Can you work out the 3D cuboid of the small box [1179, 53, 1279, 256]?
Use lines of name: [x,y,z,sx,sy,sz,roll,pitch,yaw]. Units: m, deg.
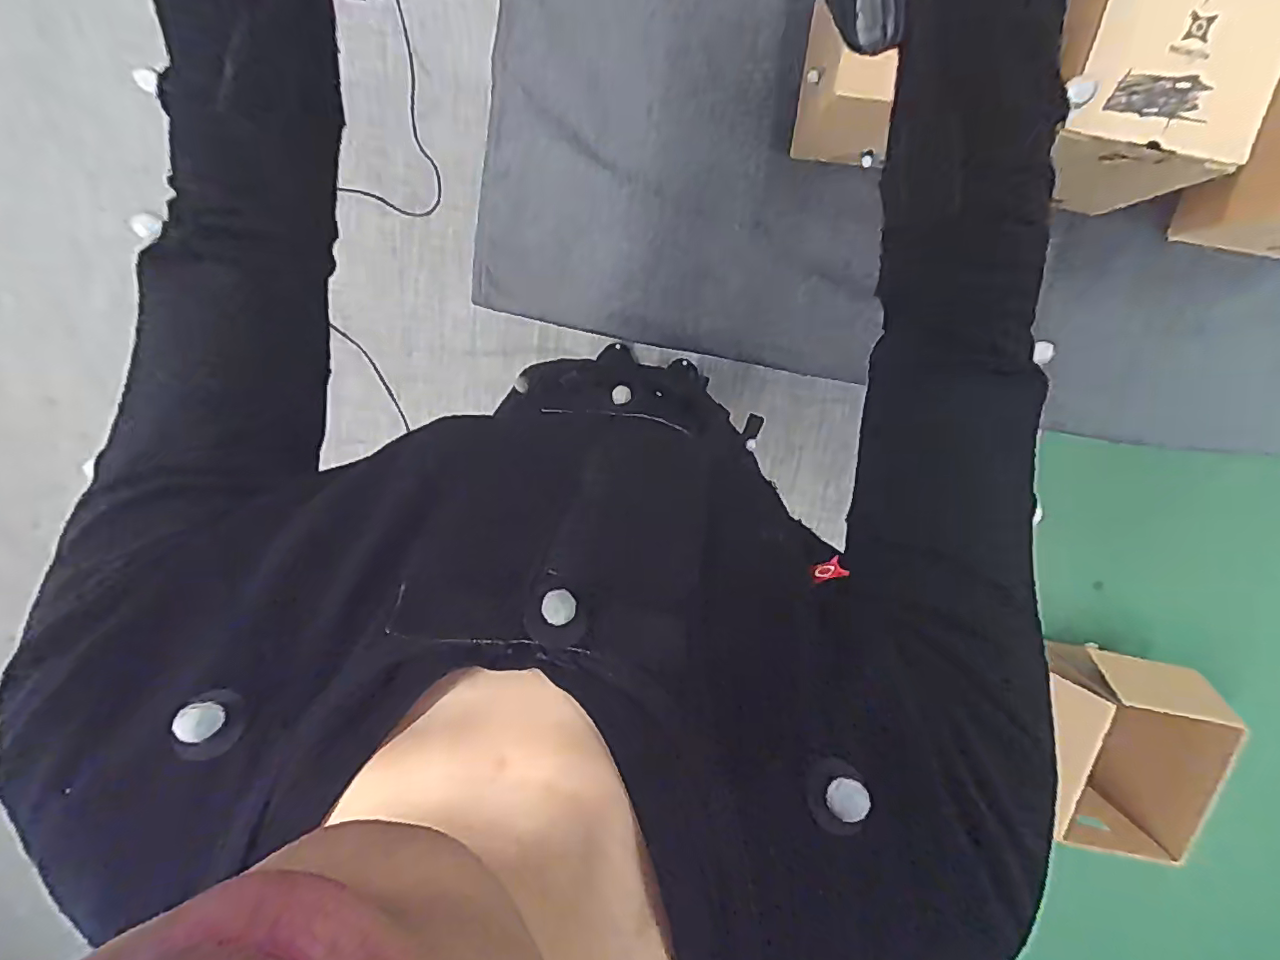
small box: [0.711,-0.331,0.538,0.168,0.176,0.179,10,104,0]
